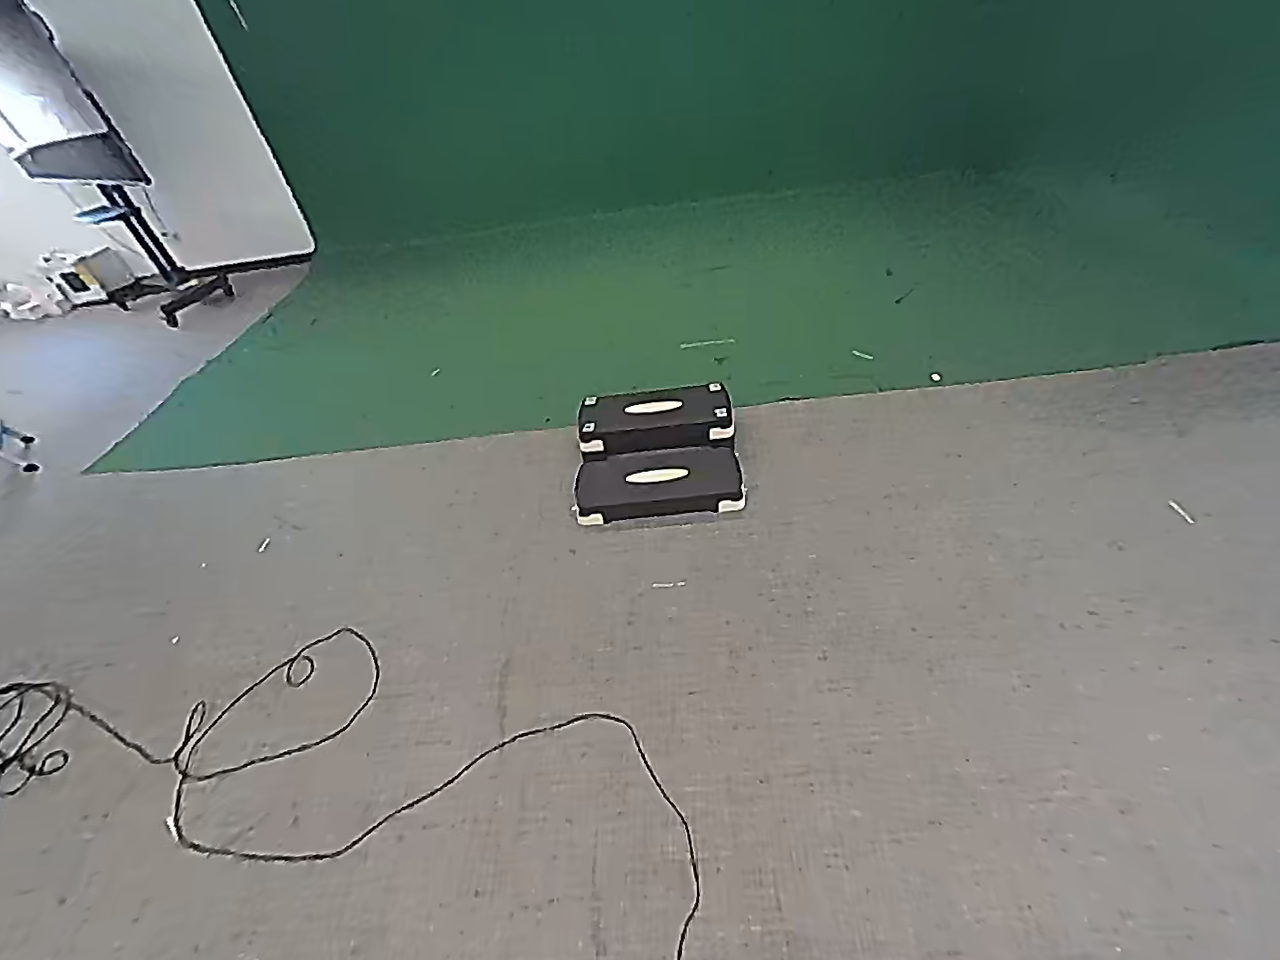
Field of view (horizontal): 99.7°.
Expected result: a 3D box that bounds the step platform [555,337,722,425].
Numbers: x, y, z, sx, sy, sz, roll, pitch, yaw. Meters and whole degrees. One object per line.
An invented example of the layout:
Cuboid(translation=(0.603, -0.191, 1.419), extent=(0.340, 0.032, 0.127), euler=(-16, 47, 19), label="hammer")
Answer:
Cuboid(translation=(-0.002, -0.418, 2.284), extent=(0.684, 0.204, 0.286), euler=(-7, 43, 4), label="step platform")
